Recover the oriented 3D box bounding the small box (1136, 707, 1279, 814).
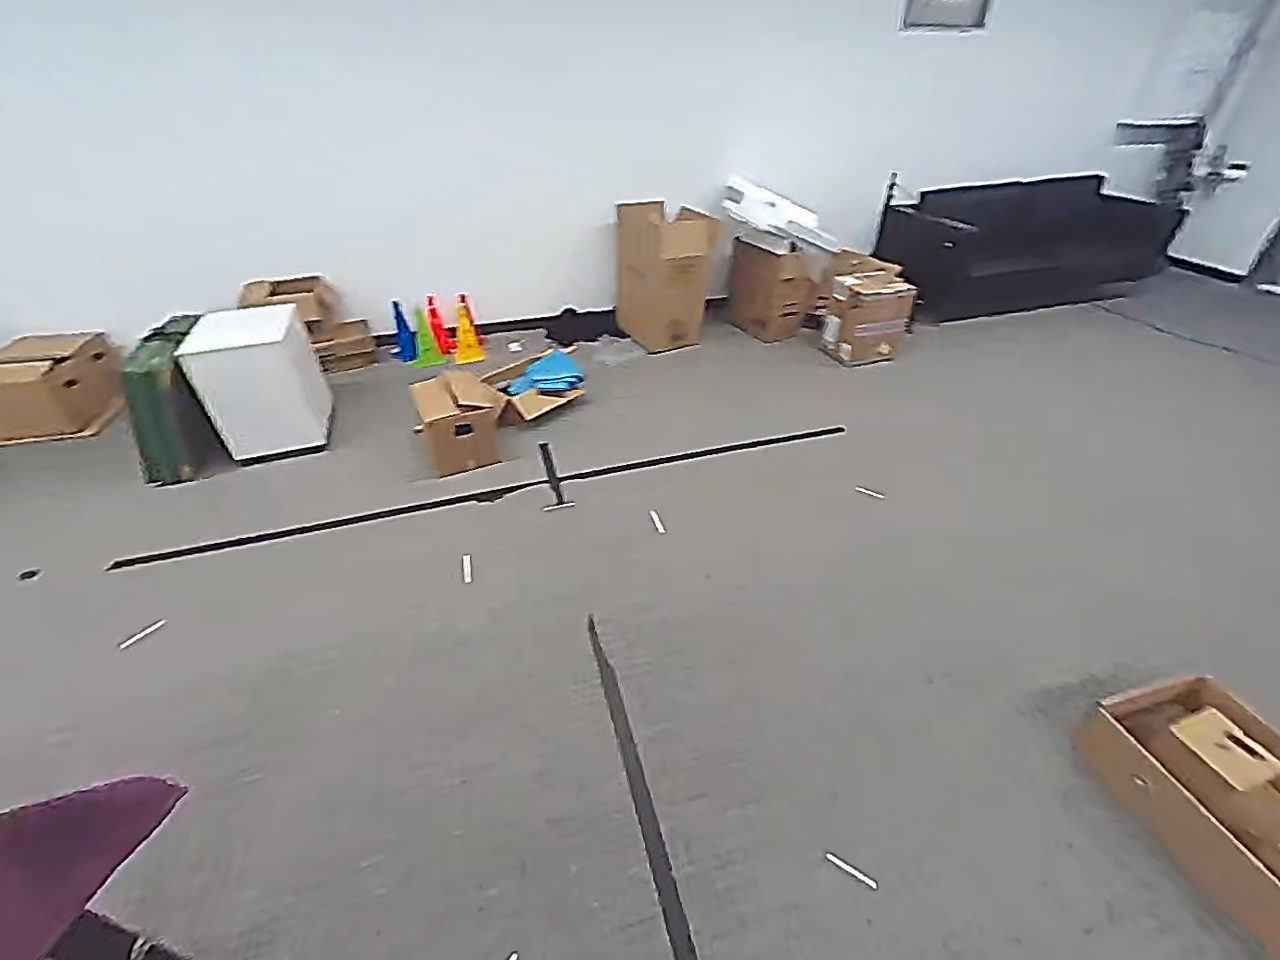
[{"bbox_3d":[1.467,0.729,1.409,0.179,0.176,0.168,-12,39,-15],"label":"small box"}]
